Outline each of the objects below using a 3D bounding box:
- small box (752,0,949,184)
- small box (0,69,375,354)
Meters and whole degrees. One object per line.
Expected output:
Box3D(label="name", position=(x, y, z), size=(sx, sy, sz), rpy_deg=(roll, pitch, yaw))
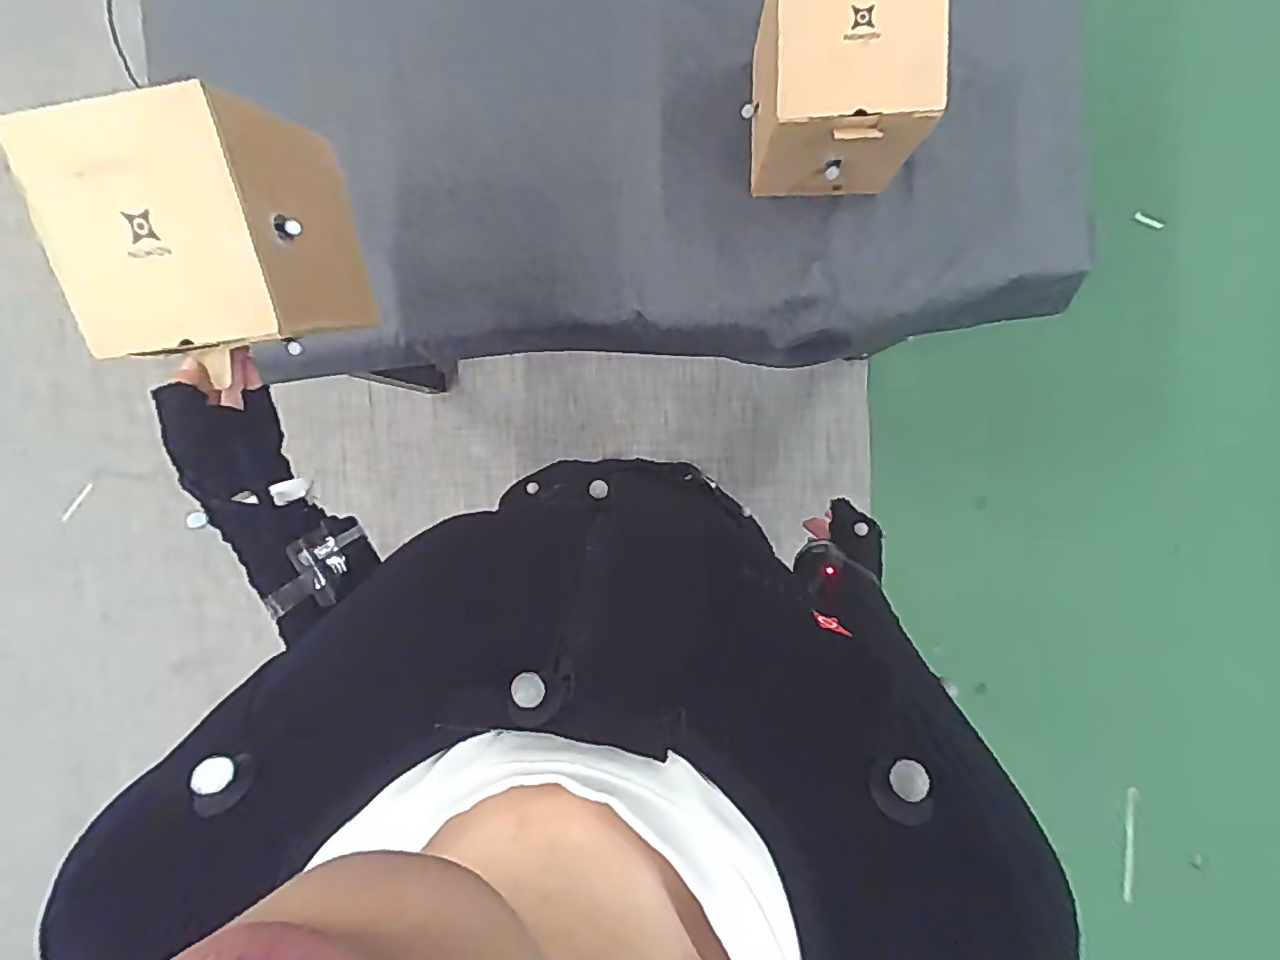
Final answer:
Box3D(label="small box", position=(0.221, -0.453, 0.606), size=(0.168, 0.176, 0.179), rpy_deg=(0, 94, 3))
Box3D(label="small box", position=(-0.366, -0.216, 0.475), size=(0.168, 0.176, 0.179), rpy_deg=(-6, 108, 4))
